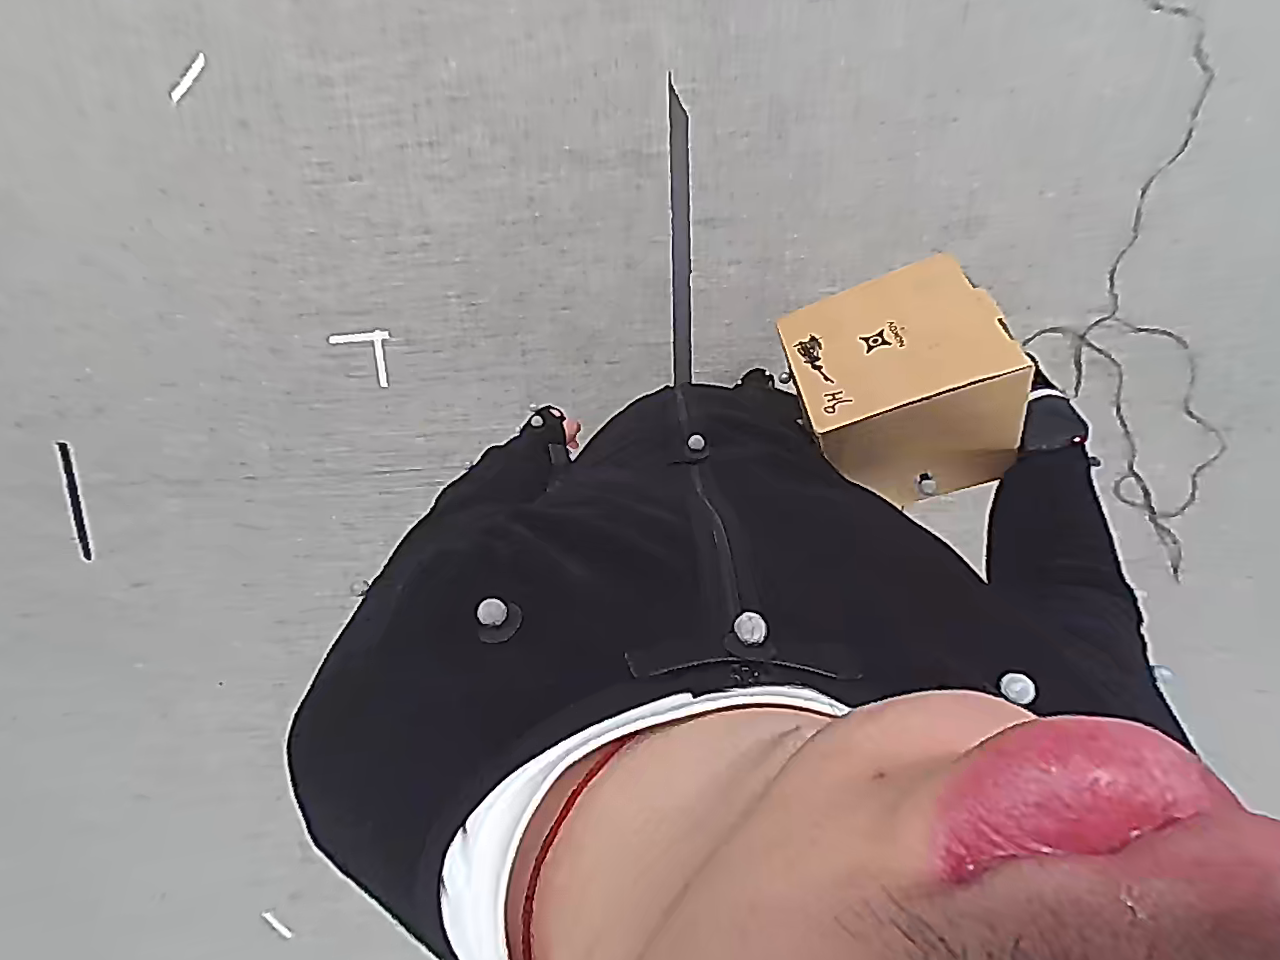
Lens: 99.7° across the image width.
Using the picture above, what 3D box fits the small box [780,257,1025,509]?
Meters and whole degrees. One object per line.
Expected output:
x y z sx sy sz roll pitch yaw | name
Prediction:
0.268 -0.094 0.579 0.179 0.168 0.176 -18 141 17 | small box
